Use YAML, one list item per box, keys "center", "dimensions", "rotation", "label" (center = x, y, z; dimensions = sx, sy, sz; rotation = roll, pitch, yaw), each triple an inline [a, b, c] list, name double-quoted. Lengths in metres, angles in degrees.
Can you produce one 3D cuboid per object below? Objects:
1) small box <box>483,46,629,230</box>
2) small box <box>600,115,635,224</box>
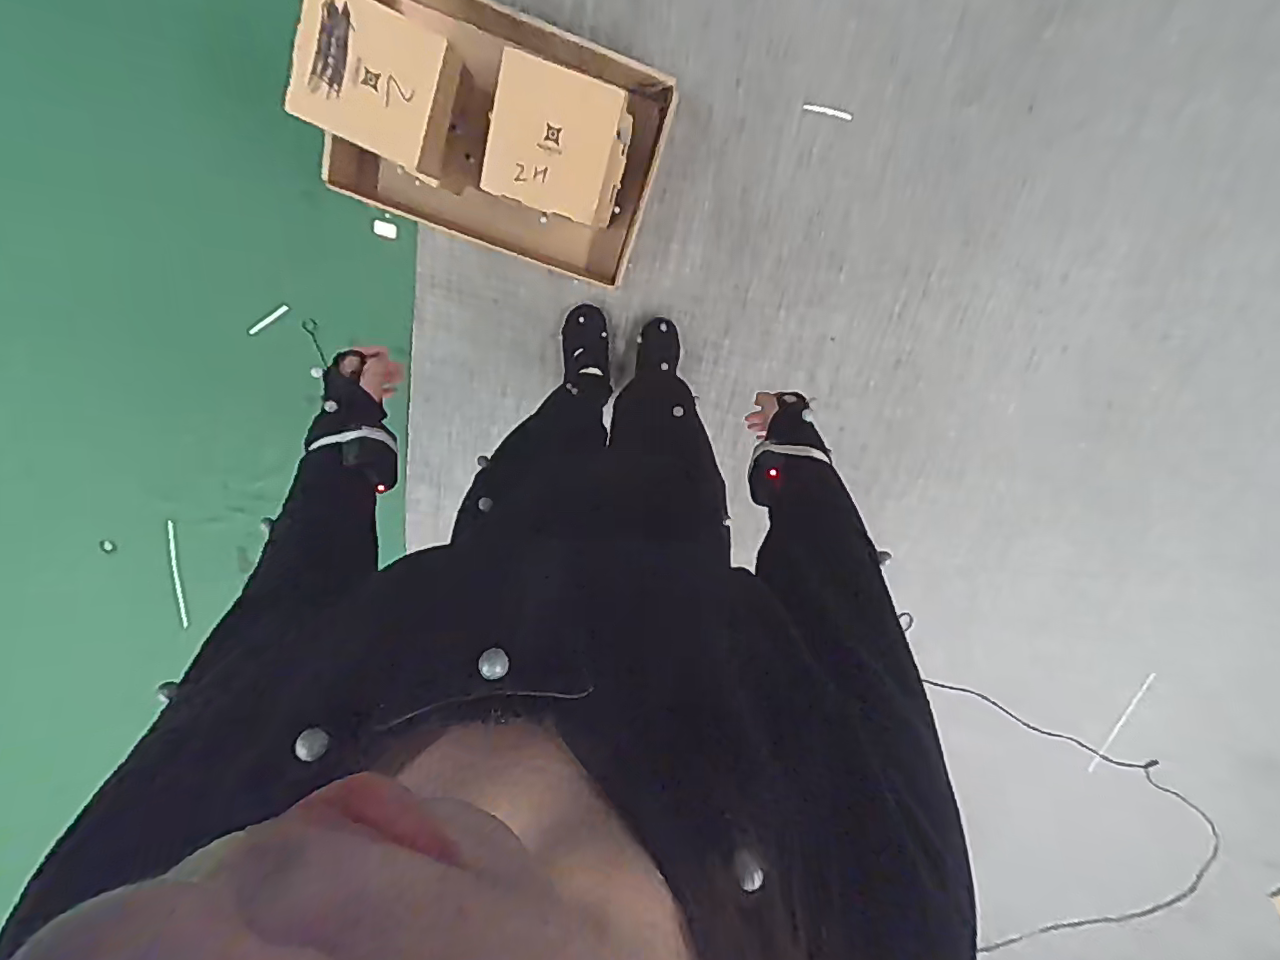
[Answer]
- center: [-0.121, -0.496, 0.815]
  dimensions: [0.168, 0.176, 0.179]
  rotation: [16, 112, -7]
  label: "small box"
- center: [-0.114, -0.569, 0.963]
  dimensions: [0.179, 0.176, 0.168]
  rotation: [16, 112, -7]
  label: "small box"
